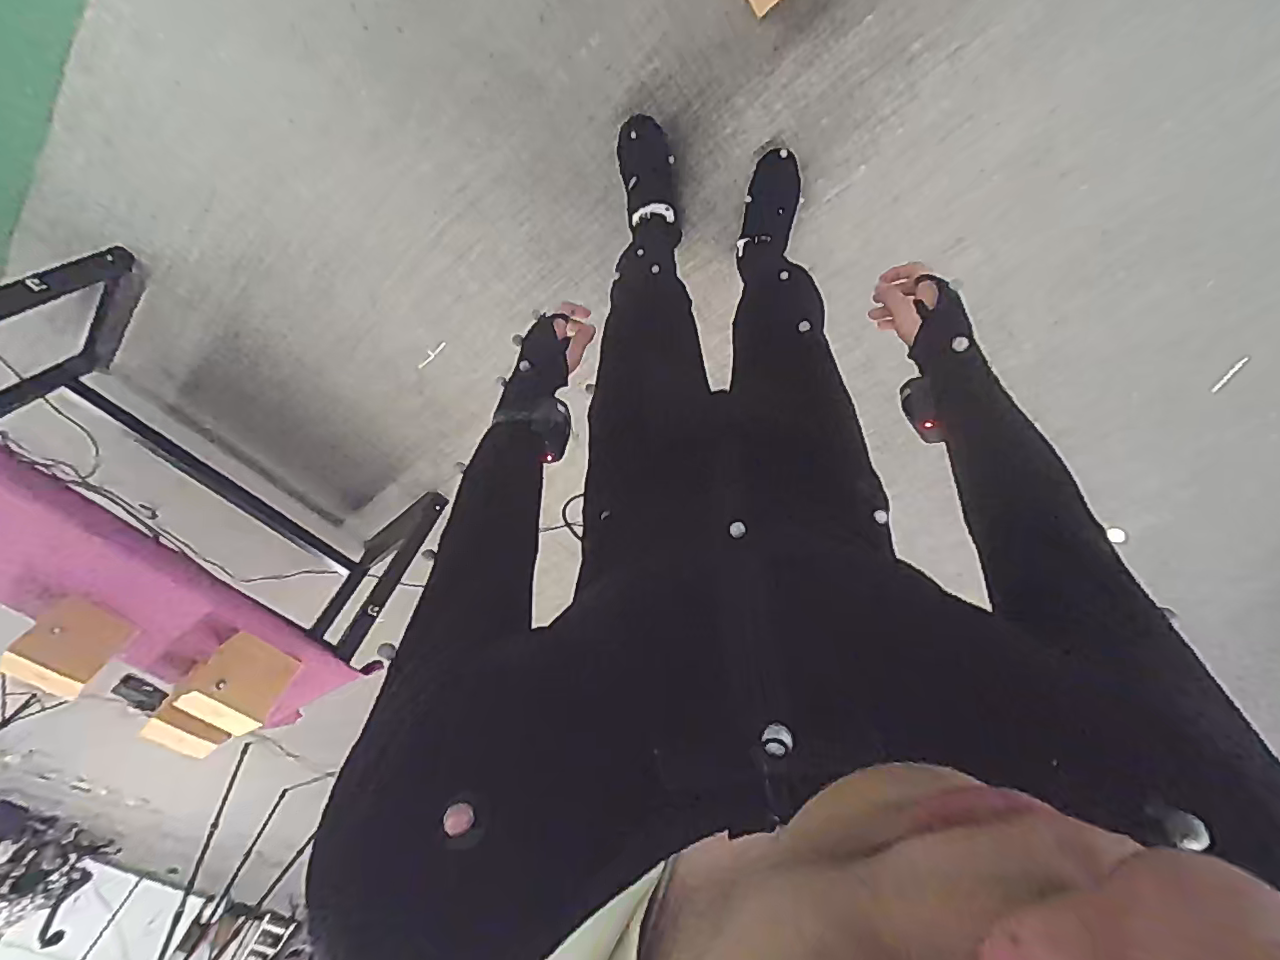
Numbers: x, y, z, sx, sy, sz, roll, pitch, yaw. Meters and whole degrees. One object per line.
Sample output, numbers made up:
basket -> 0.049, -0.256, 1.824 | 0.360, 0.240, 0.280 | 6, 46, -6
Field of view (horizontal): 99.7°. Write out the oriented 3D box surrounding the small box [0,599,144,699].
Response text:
small box -> -1.442, 0.424, 1.379 | 0.168, 0.176, 0.179 | -32, 118, 31

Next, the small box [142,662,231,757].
small box -> -1.221, 0.641, 1.513 | 0.168, 0.176, 0.179 | -34, 116, 31

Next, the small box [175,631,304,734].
small box -> -1.004, 0.512, 1.369 | 0.168, 0.176, 0.179 | -29, 118, 31
